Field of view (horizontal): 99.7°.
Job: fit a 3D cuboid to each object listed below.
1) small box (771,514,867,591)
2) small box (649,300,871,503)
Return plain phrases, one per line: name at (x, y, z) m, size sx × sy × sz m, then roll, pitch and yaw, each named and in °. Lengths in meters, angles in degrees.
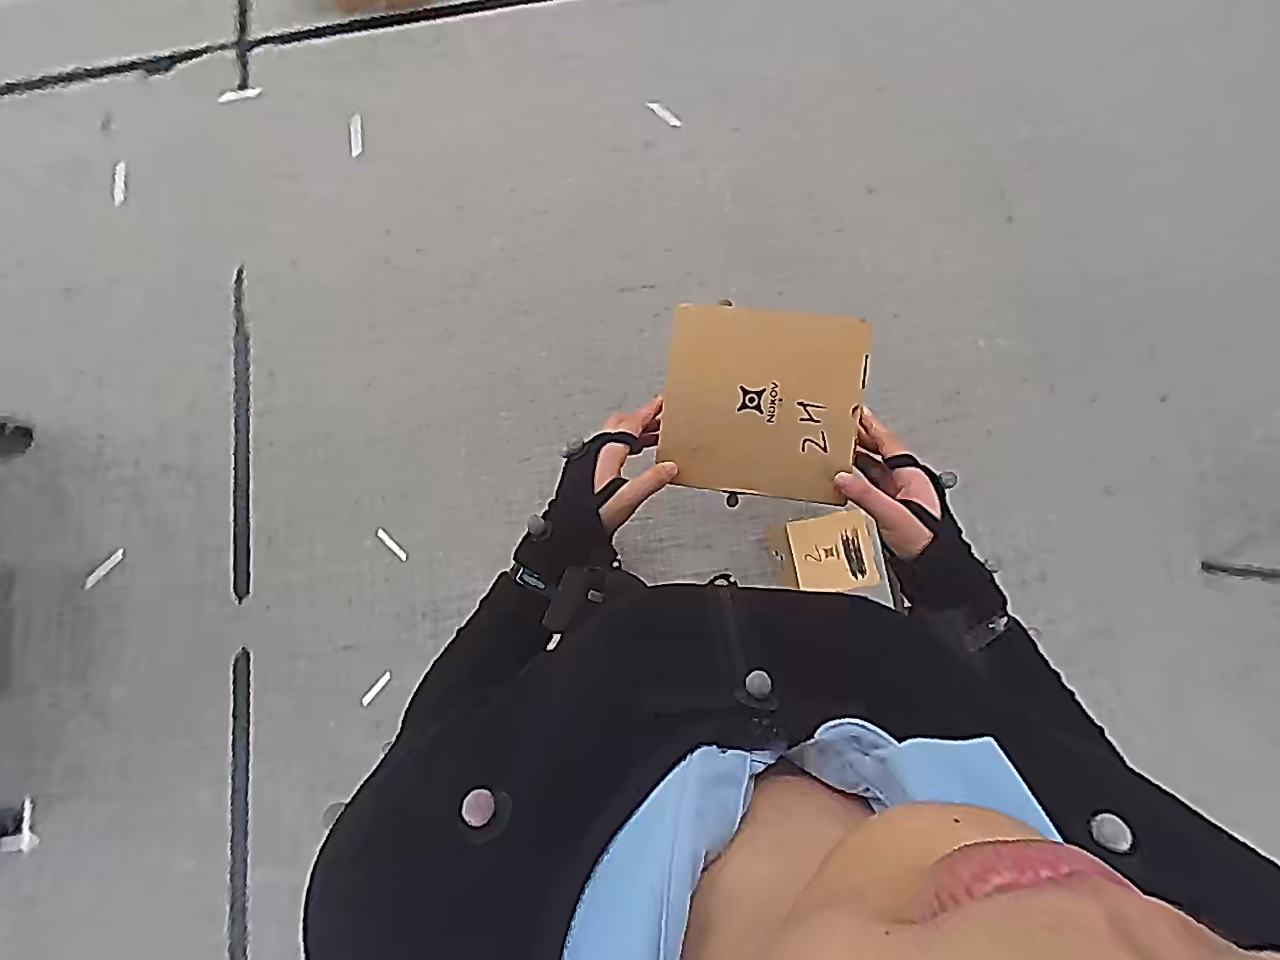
small box at (0.461, 0.189, 1.417) m, size 0.179 × 0.176 × 0.168 m, roll -13°, pitch 80°, yaw 1°
small box at (0.111, -0.071, 0.551) m, size 0.179 × 0.176 × 0.168 m, roll 6°, pitch 93°, yaw 5°
